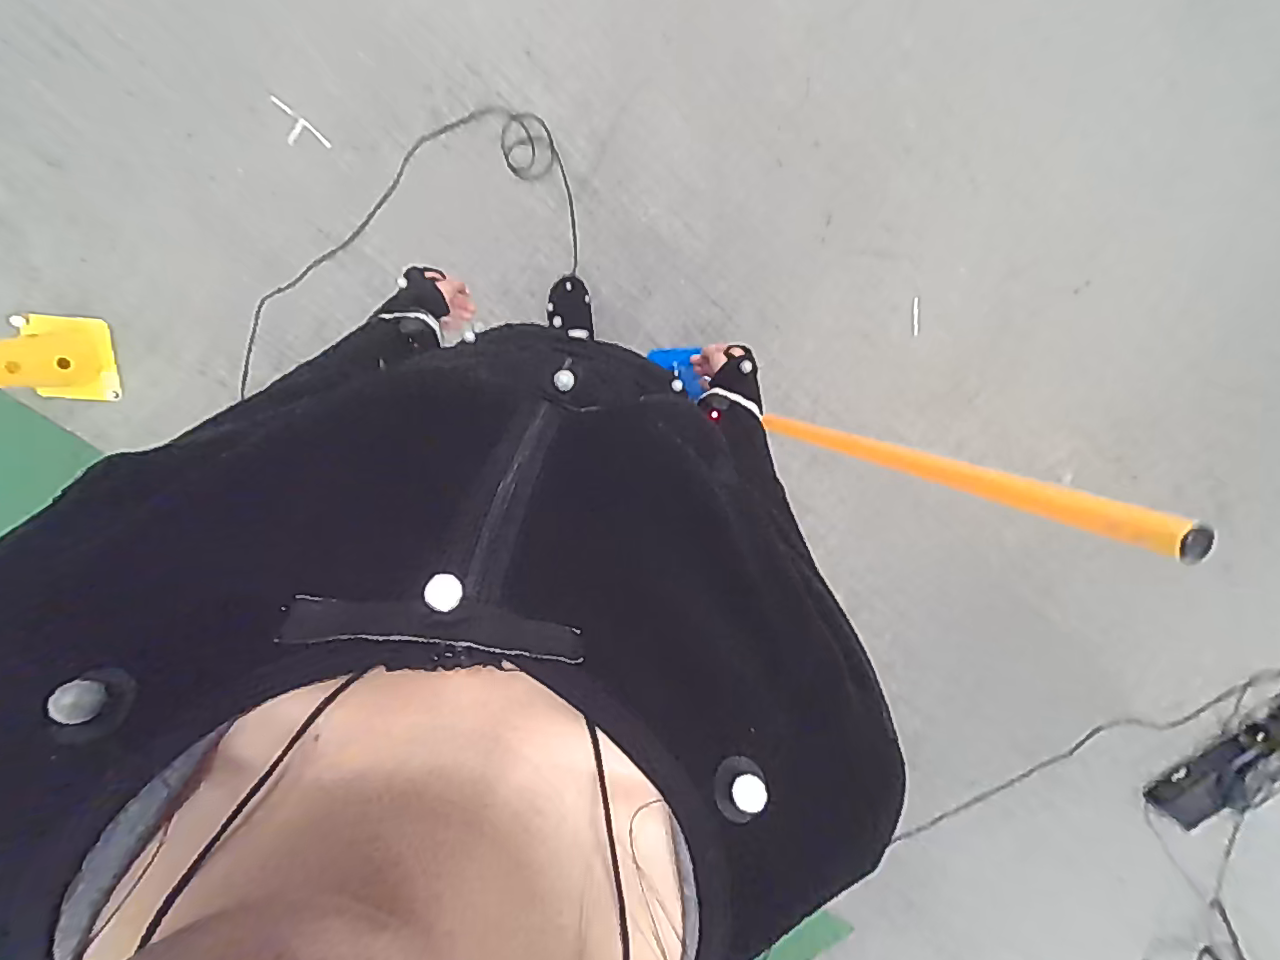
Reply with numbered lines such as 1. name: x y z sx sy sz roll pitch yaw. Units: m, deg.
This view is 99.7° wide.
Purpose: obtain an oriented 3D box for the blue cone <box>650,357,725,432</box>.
1. blue cone: 0.139 -0.181 1.285 0.193 0.380 0.192 -5 107 -4
